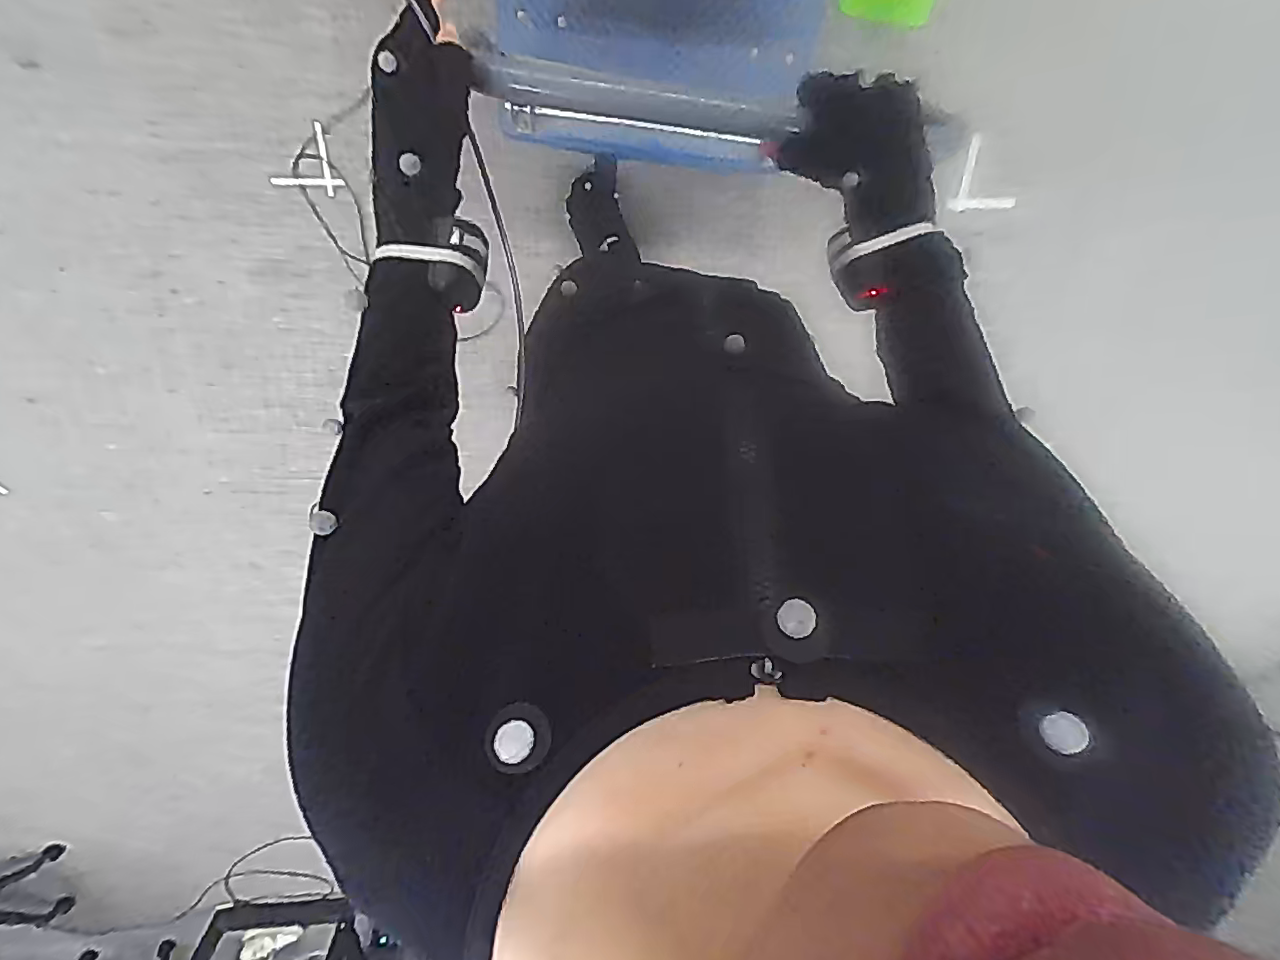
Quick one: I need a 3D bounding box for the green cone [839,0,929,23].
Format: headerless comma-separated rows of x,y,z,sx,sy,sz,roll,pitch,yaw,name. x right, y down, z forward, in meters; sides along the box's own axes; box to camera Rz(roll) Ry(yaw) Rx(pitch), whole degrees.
0.528,-0.981,0.934,0.202,0.368,0.200,2,116,-8,green cone
